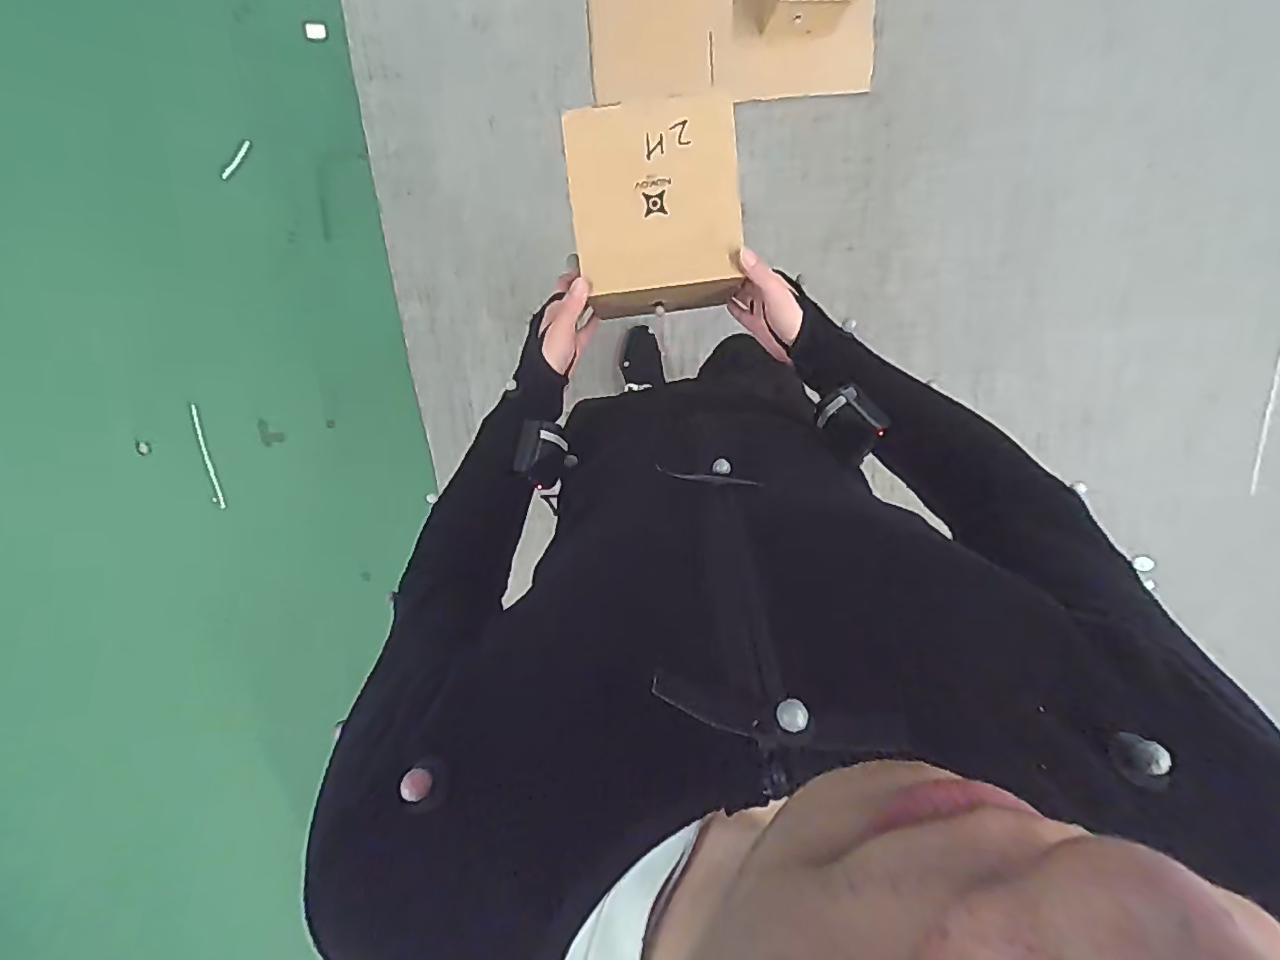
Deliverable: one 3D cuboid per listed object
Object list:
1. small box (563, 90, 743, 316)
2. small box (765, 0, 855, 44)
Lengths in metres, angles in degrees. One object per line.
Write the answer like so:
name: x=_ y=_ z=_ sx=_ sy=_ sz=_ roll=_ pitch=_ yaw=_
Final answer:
small box: x=0.018 y=-0.285 z=0.600 sx=0.168 sy=0.176 sz=0.179 roll=-5 pitch=97 yaw=2
small box: x=0.384 y=-1.124 z=1.222 sx=0.168 sy=0.176 sz=0.179 roll=-1 pitch=105 yaw=0
